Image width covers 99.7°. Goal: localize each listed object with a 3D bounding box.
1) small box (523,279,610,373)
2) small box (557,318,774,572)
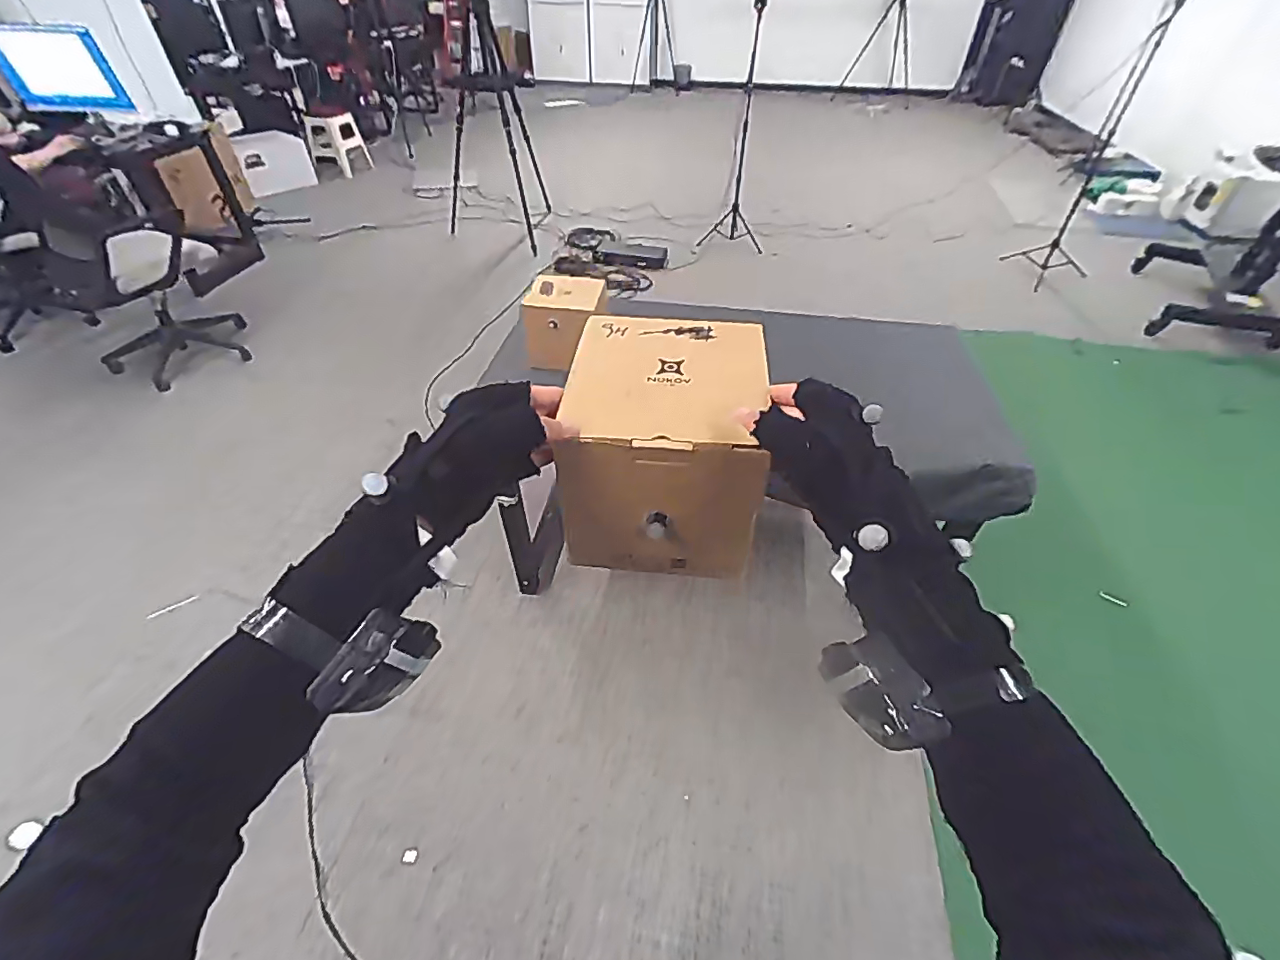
[{"bbox_3d":[-0.174,-0.380,1.338,0.179,0.176,0.168,6,44,4],"label":"small box"},{"bbox_3d":[0.028,-0.031,0.511,0.168,0.176,0.179,4,47,4],"label":"small box"}]
